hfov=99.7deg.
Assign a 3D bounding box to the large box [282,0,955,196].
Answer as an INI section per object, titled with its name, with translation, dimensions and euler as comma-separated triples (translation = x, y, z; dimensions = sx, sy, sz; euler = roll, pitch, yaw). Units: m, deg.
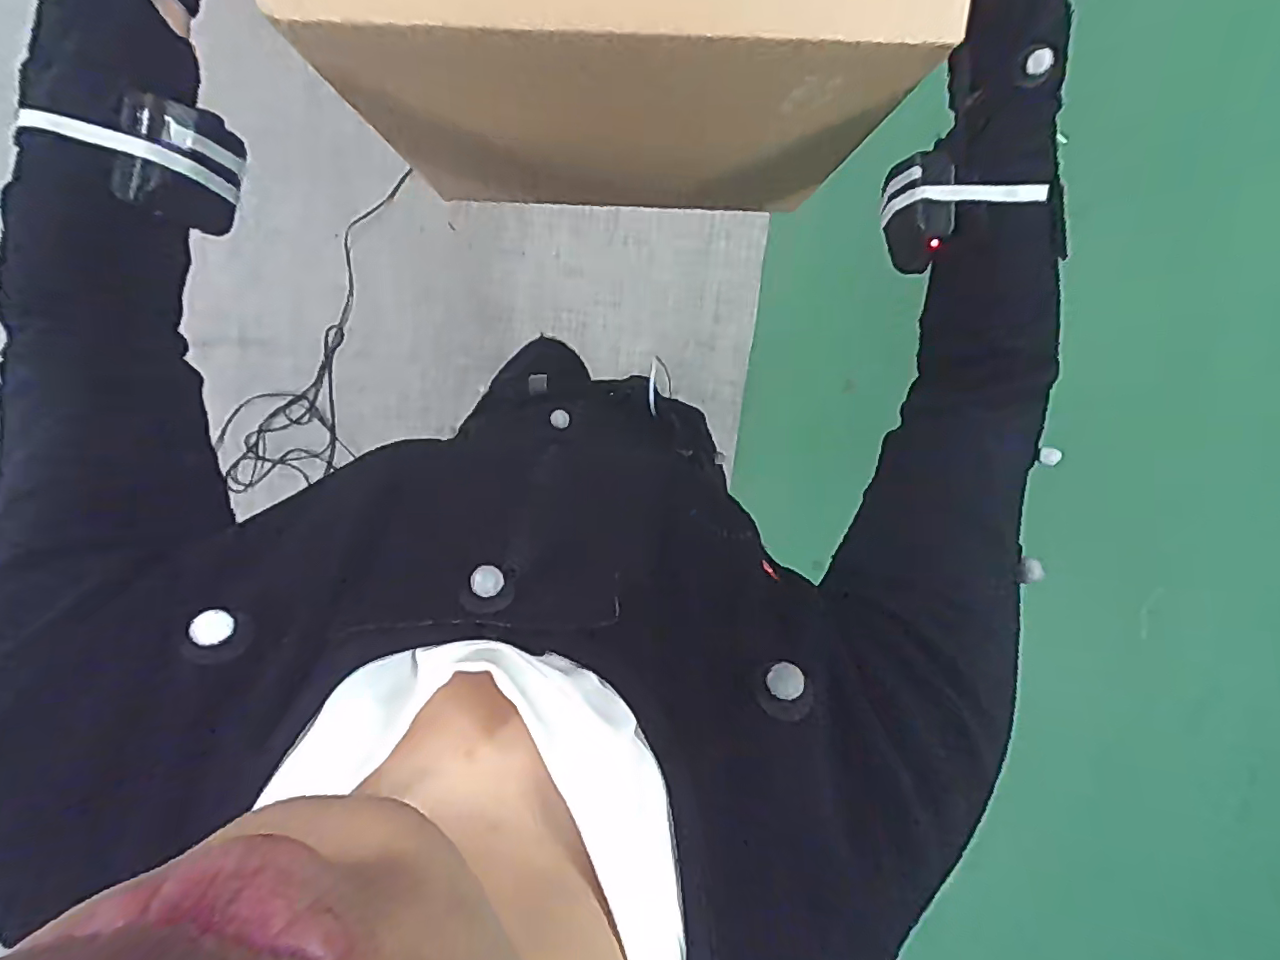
[large box]
translation = -0.017, -0.445, 0.437
dimensions = 0.408, 0.320, 0.320
euler = 0, 101, -2
